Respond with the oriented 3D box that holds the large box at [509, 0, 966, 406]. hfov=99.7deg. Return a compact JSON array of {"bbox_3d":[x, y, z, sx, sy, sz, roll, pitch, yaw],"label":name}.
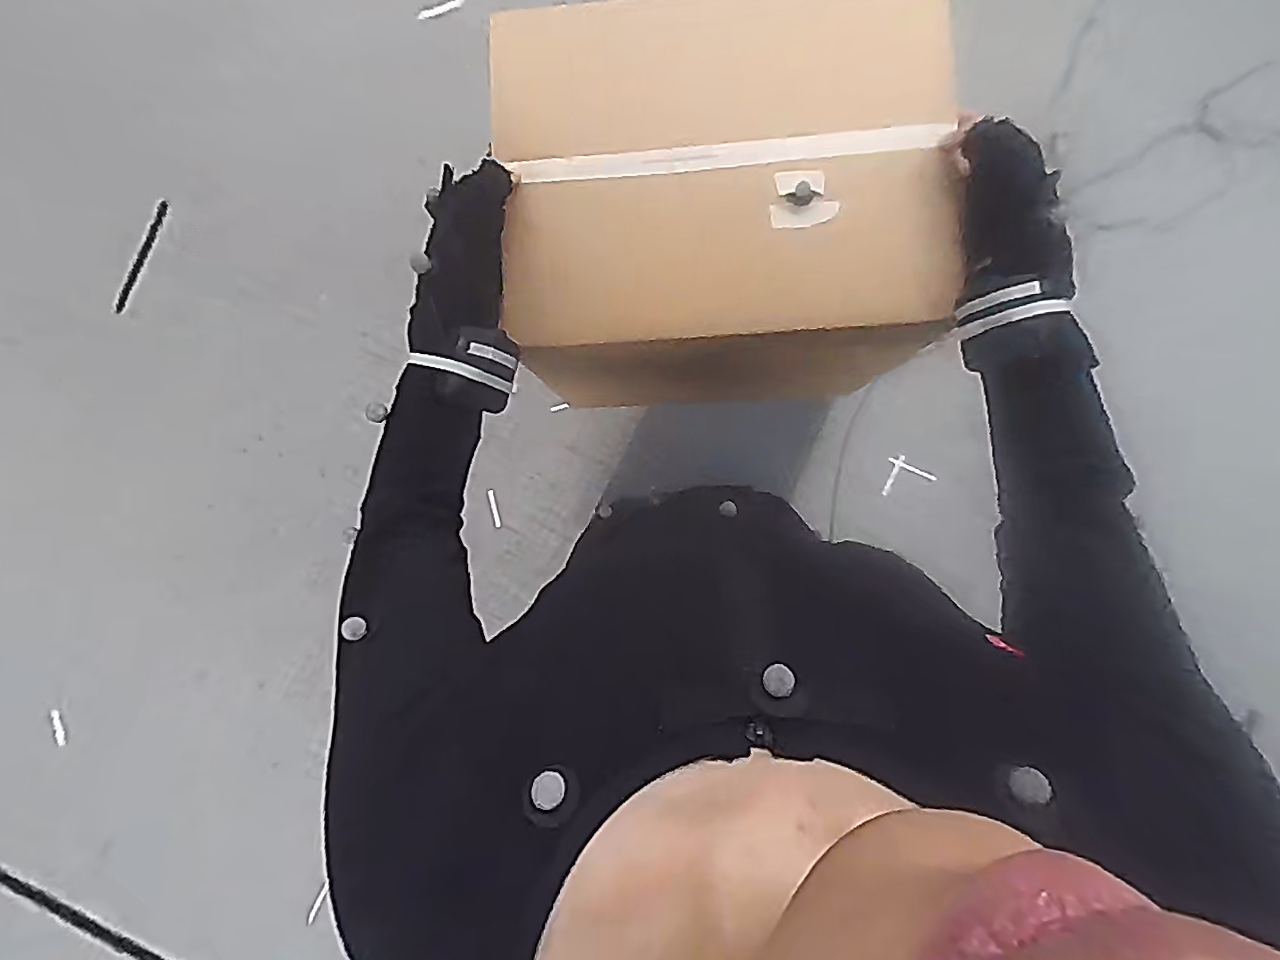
[{"bbox_3d":[0.088,-0.278,0.639,0.408,0.320,0.320,-2,87,4],"label":"large box"}]
